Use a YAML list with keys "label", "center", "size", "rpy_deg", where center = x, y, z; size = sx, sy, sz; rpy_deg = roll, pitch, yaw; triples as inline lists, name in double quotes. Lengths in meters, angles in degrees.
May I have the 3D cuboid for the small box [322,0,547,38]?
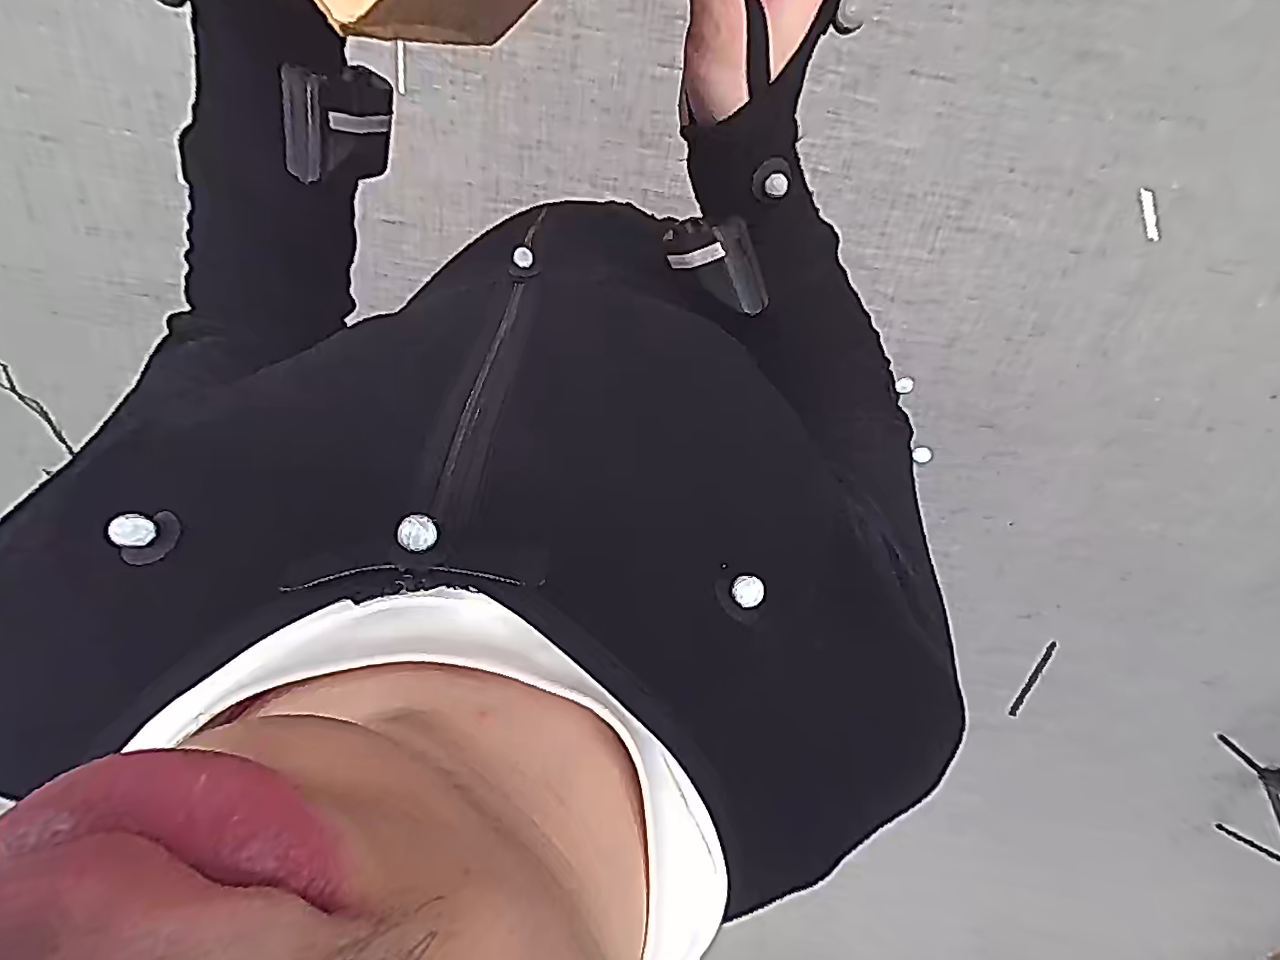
- label: "small box"
  center: [-0.054, -0.268, 0.154]
  size: [0.179, 0.176, 0.168]
  rpy_deg: [-28, 123, 21]
